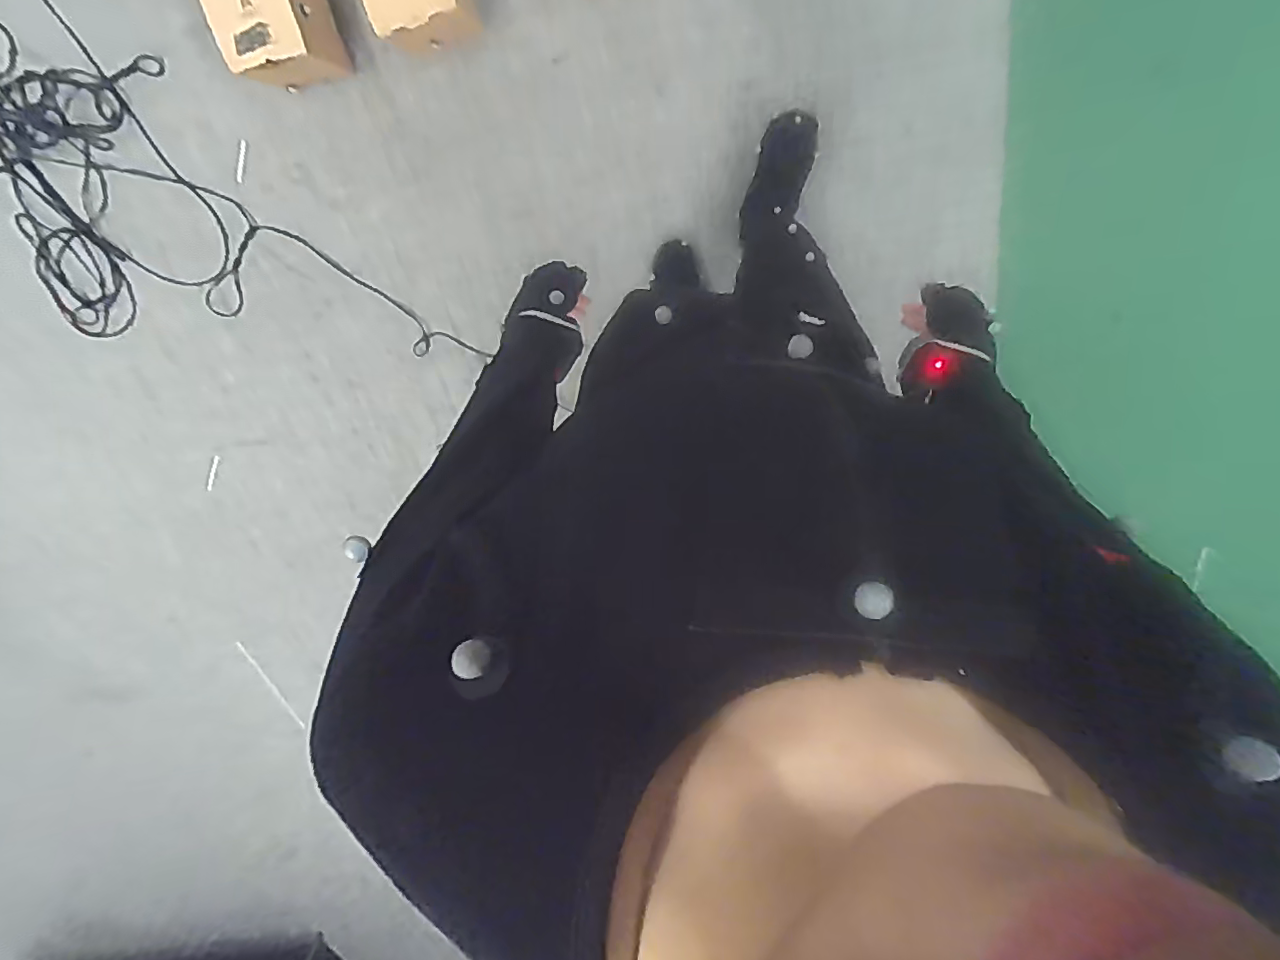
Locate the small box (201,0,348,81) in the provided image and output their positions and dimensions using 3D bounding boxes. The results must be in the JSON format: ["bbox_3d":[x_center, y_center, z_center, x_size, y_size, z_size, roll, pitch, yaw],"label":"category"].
[{"bbox_3d":[-0.710,-0.904,1.052,0.168,0.176,0.179,-8,116,6],"label":"small box"}]

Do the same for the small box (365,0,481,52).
[{"bbox_3d":[-0.426,-0.952,1.018,0.168,0.176,0.179,-13,117,9],"label":"small box"}]
